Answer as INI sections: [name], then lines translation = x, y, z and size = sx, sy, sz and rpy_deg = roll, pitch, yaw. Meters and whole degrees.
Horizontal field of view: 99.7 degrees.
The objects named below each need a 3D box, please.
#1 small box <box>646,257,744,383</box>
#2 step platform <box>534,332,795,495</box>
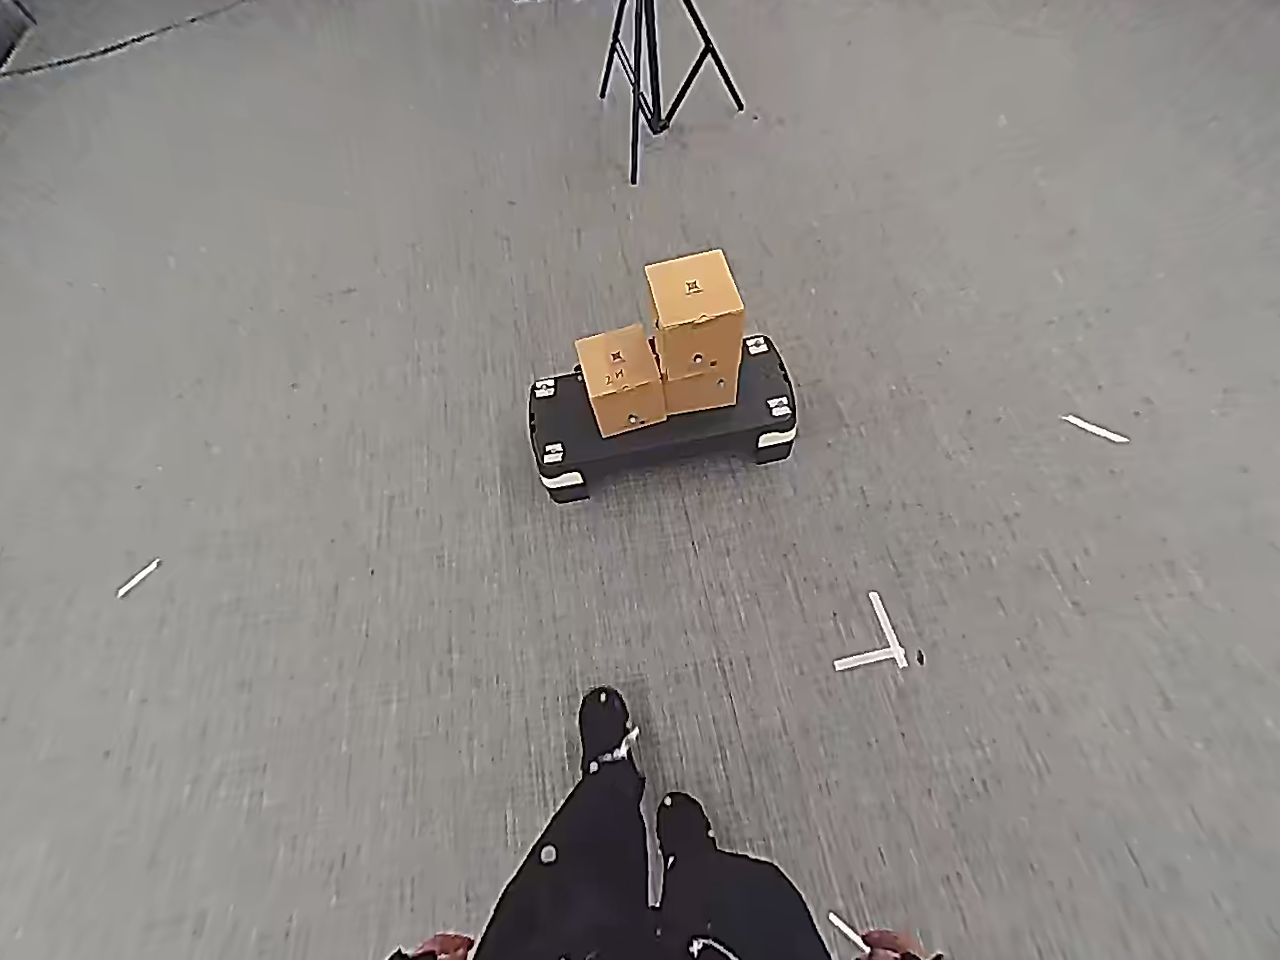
[small box]
translation = 0.111, -0.337, 1.152
size = 0.168, 0.176, 0.179
rpy_deg = -13, 63, -1
[step platform]
translation = 0.060, -0.179, 1.457
size = 0.684, 0.204, 0.286
rpy_deg = -12, 62, 1
